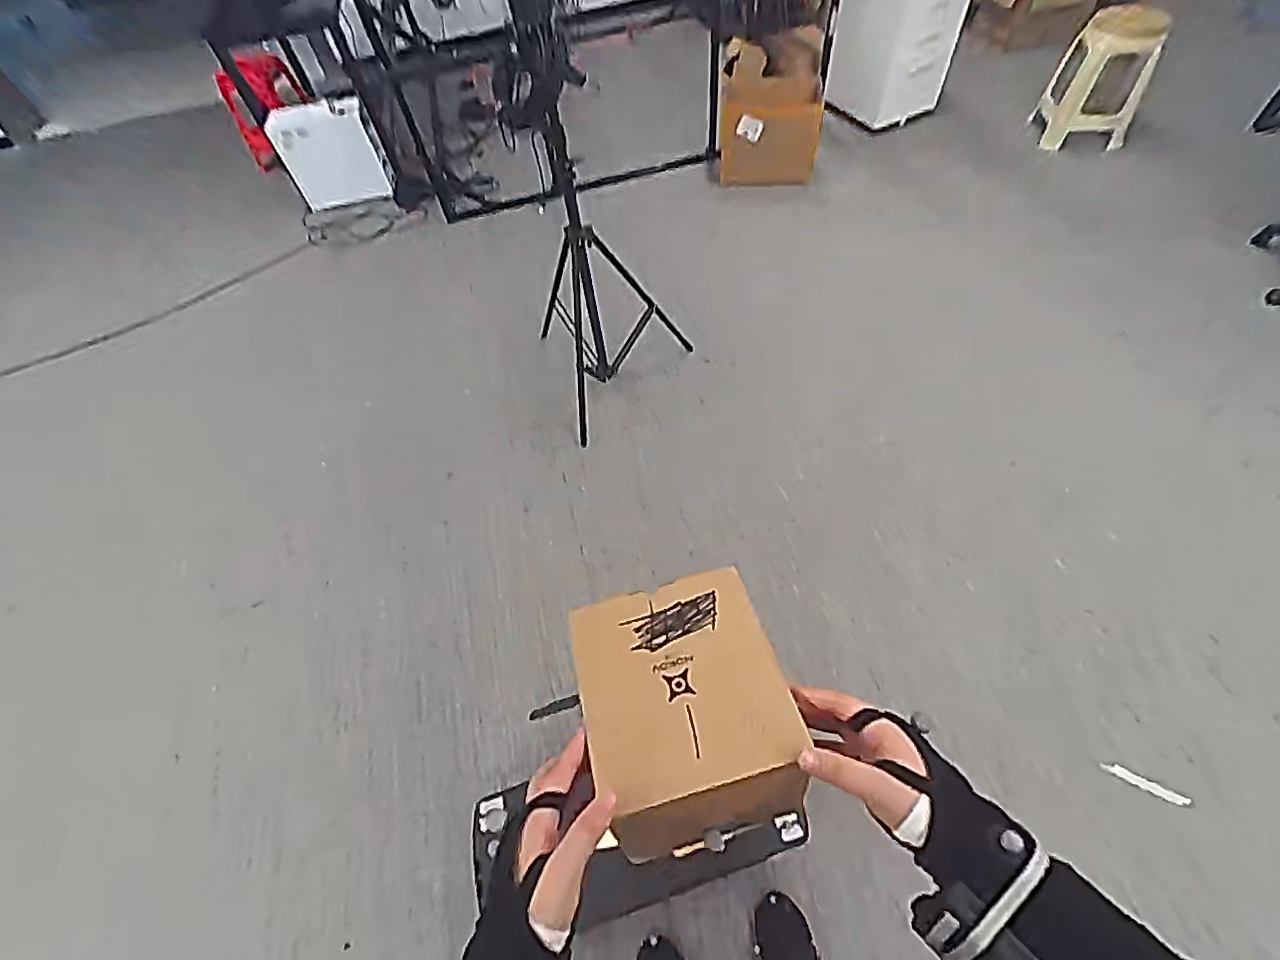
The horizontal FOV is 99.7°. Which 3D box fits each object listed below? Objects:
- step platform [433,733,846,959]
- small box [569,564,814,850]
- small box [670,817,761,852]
[{"bbox_3d":[-0.001,0.638,0.979,0.684,0.204,0.286,-17,55,-6],"label":"step platform"},{"bbox_3d":[0.039,0.211,0.503,0.168,0.176,0.179,-15,48,-4],"label":"small box"},{"bbox_3d":[0.116,0.590,1.041,0.168,0.176,0.179,-19,56,-5],"label":"small box"}]
